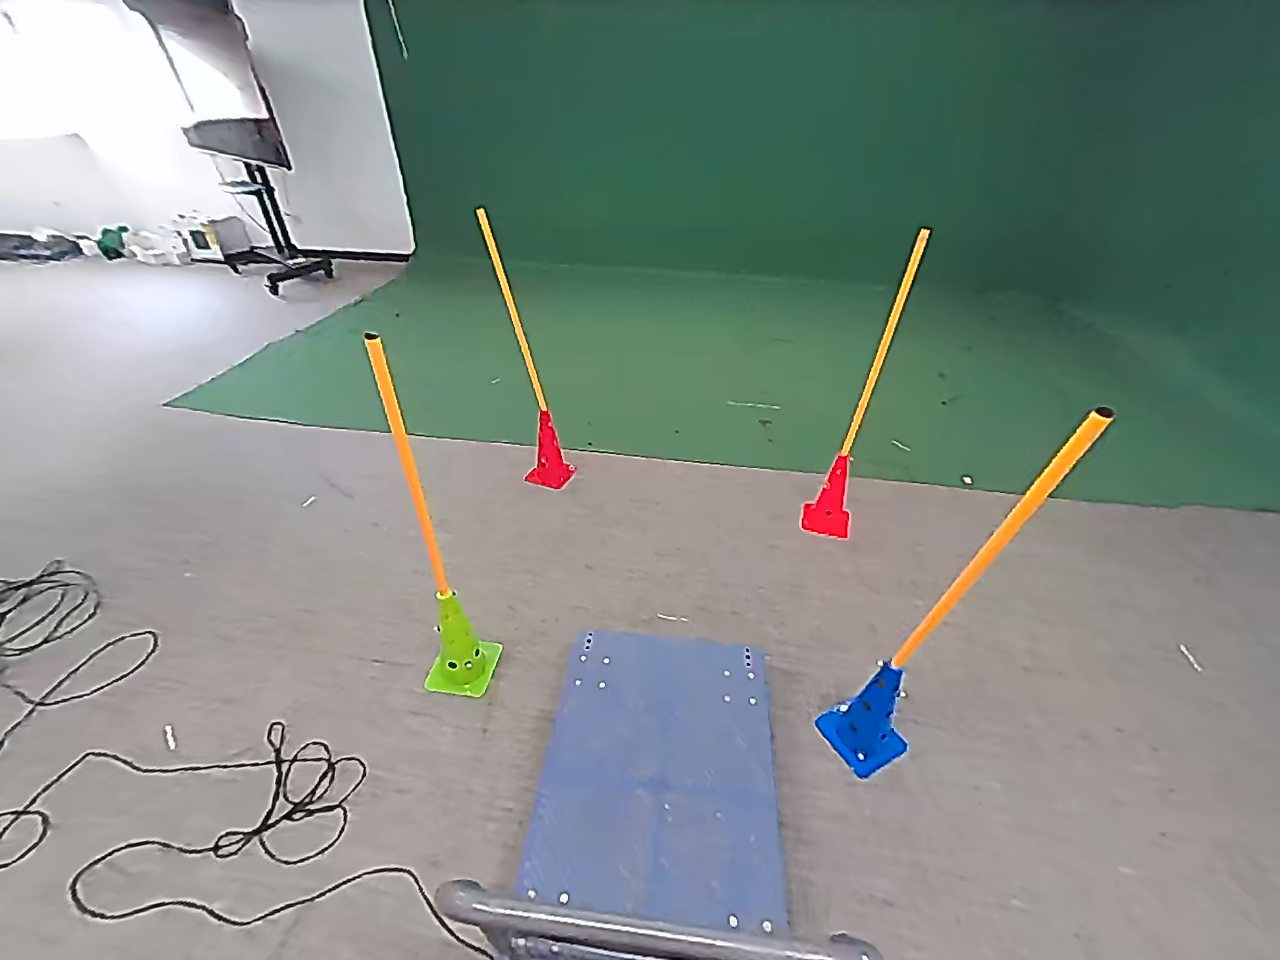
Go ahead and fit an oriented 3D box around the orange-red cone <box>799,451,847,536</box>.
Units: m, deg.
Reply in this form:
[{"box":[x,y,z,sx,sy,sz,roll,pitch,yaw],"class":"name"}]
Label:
[{"box":[0.809,0.034,2.281,0.198,0.360,0.199,12,39,16],"class":"orange-red cone"}]
